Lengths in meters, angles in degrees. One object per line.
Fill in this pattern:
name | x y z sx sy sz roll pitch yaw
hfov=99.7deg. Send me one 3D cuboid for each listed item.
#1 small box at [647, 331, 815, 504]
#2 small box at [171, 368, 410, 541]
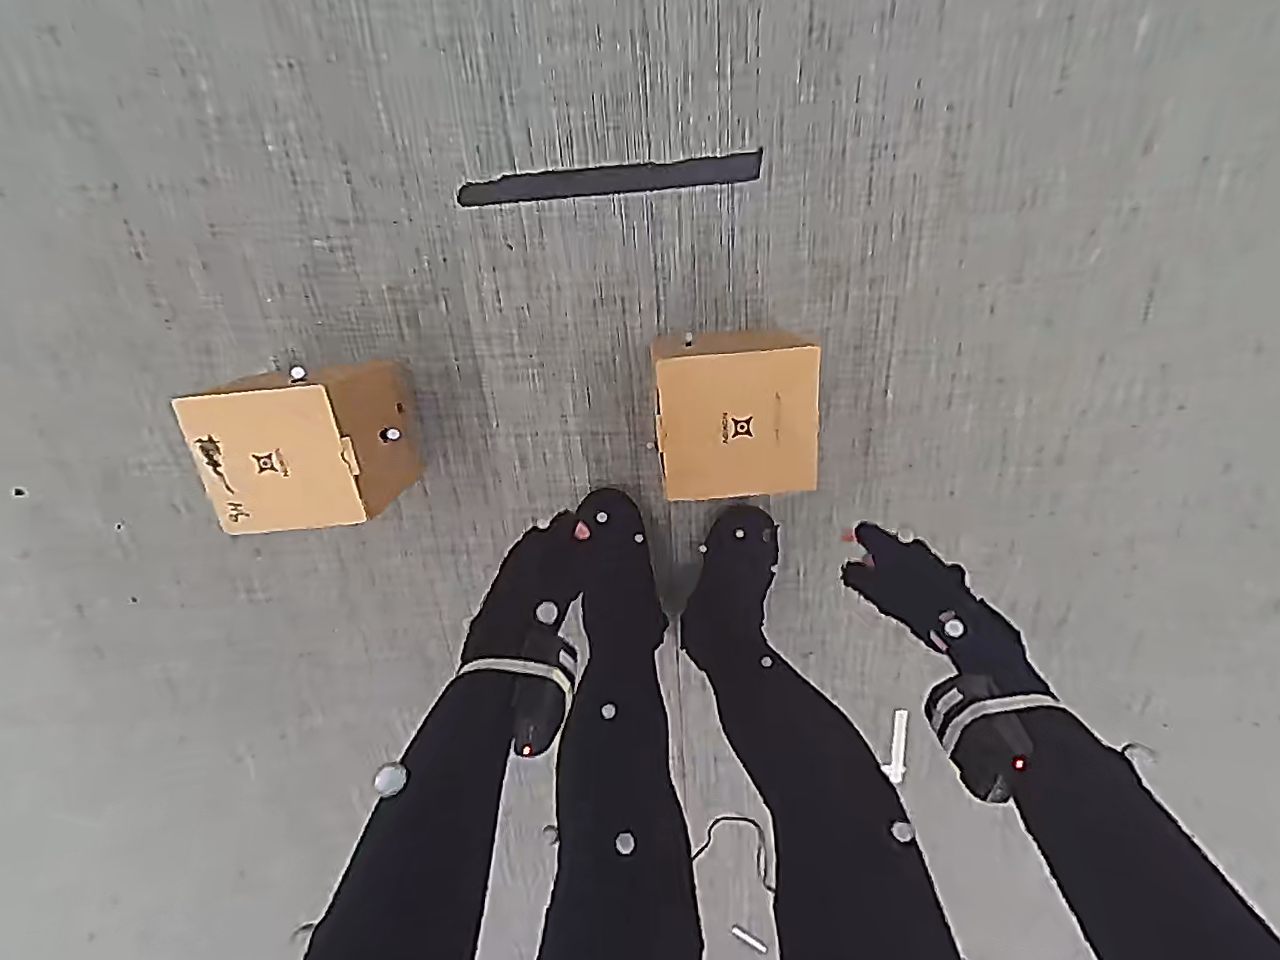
small box | 0.101 -0.084 0.663 0.179 0.176 0.168 -6 112 1
small box | -0.410 -0.040 0.677 0.179 0.176 0.168 -5 111 1
